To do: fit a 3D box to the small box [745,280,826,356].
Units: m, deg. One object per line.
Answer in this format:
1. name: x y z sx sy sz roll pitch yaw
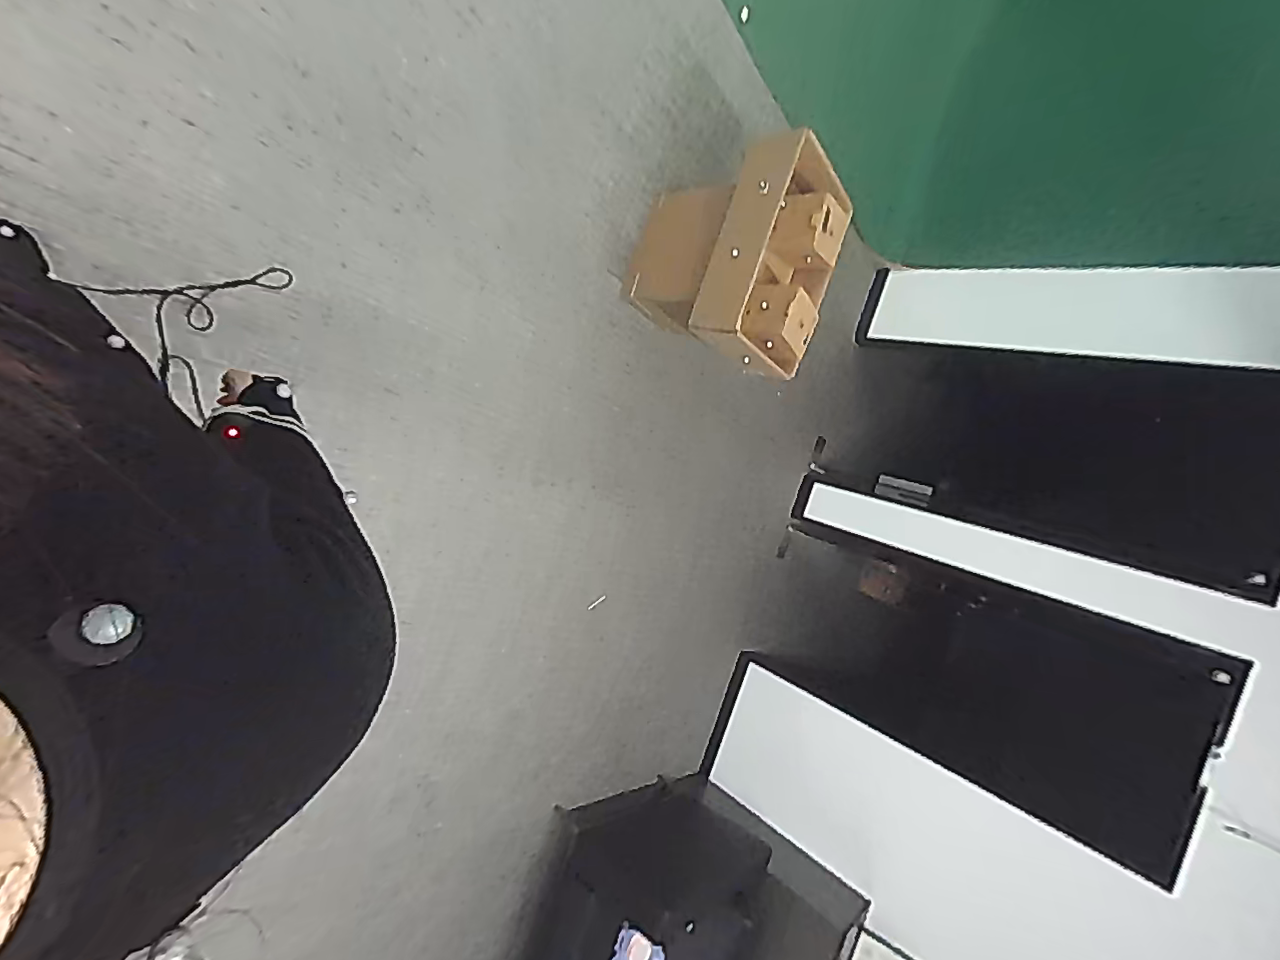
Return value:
1. small box: 0.464 -0.519 1.739 0.179 0.176 0.168 30 83 -47
